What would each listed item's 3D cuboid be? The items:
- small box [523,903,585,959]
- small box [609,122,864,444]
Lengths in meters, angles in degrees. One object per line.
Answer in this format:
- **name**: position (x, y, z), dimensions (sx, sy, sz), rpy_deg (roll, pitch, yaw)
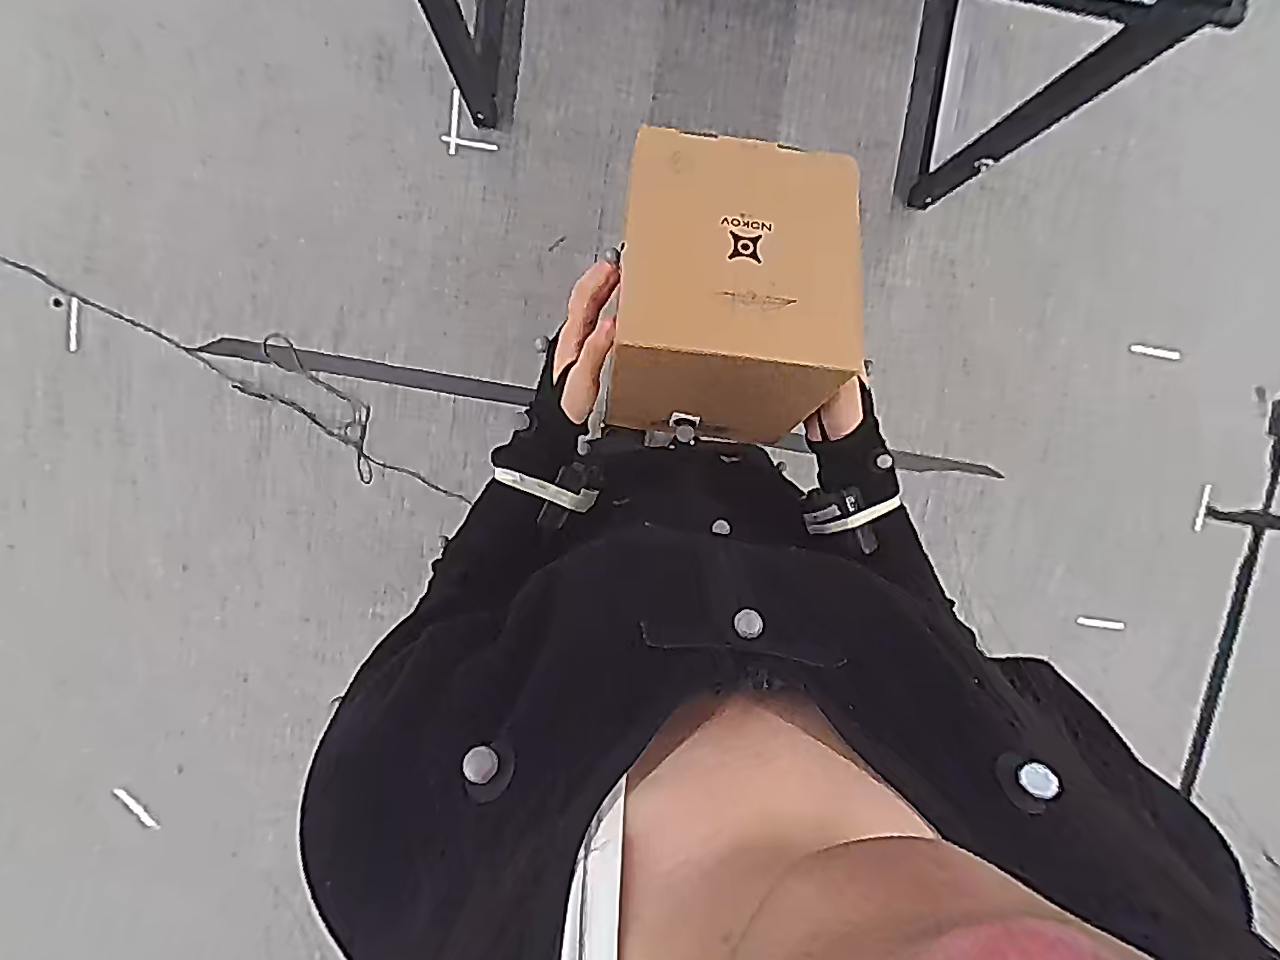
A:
- **small box**: position (-0.253, 1.385, 1.567), dimensions (0.168, 0.176, 0.179), rpy_deg (11, 96, -6)
- **small box**: position (0.065, -0.144, 0.447), dimensions (0.168, 0.176, 0.179), rpy_deg (6, 76, -4)
